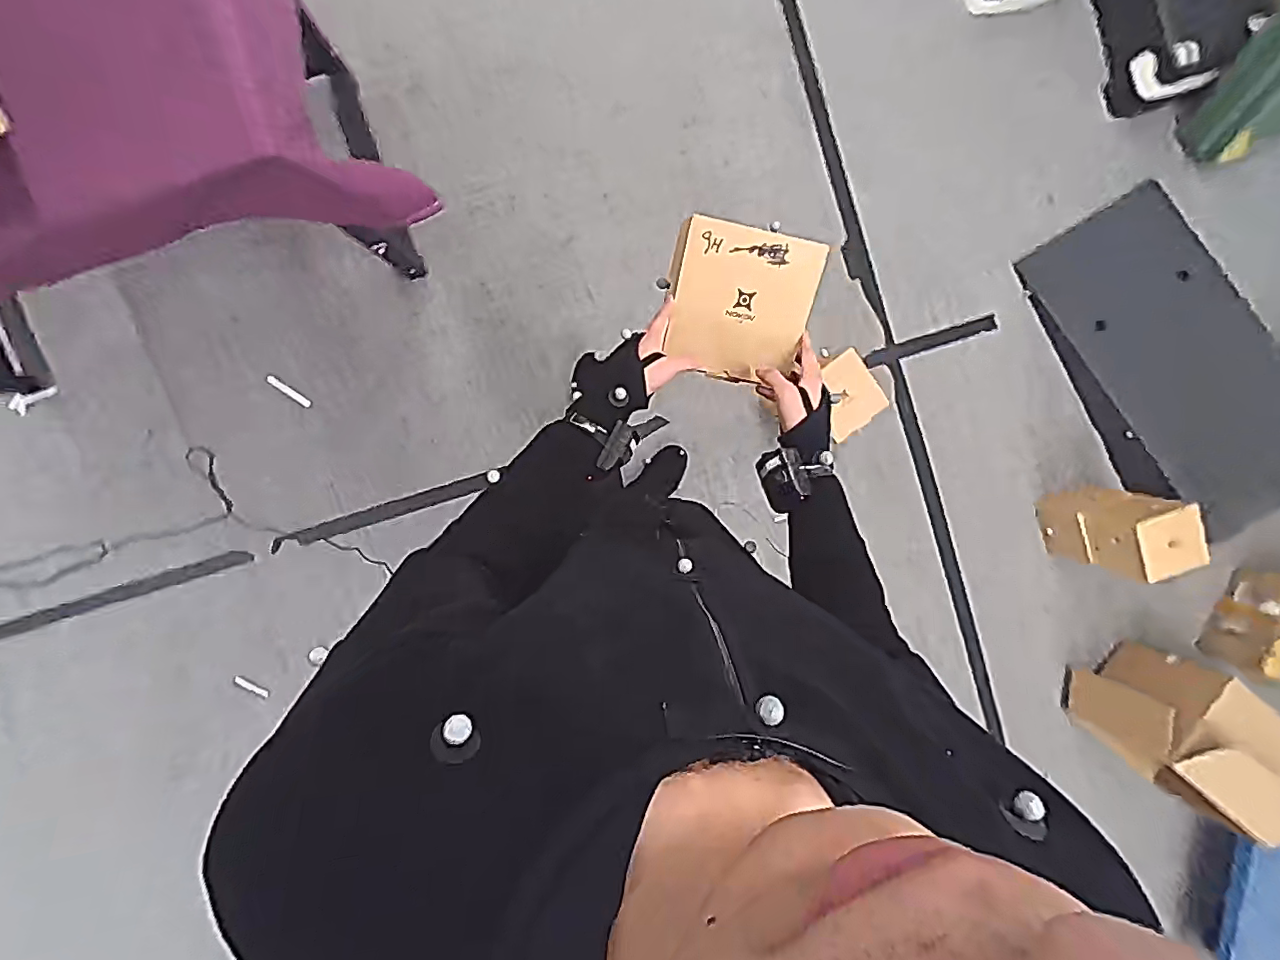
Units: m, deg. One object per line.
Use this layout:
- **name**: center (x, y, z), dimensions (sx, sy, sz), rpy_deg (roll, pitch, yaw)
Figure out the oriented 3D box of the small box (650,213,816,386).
- **small box**: center (0.109, -0.244, 0.727), dimensions (0.168, 0.176, 0.179), rpy_deg (10, 113, -6)
